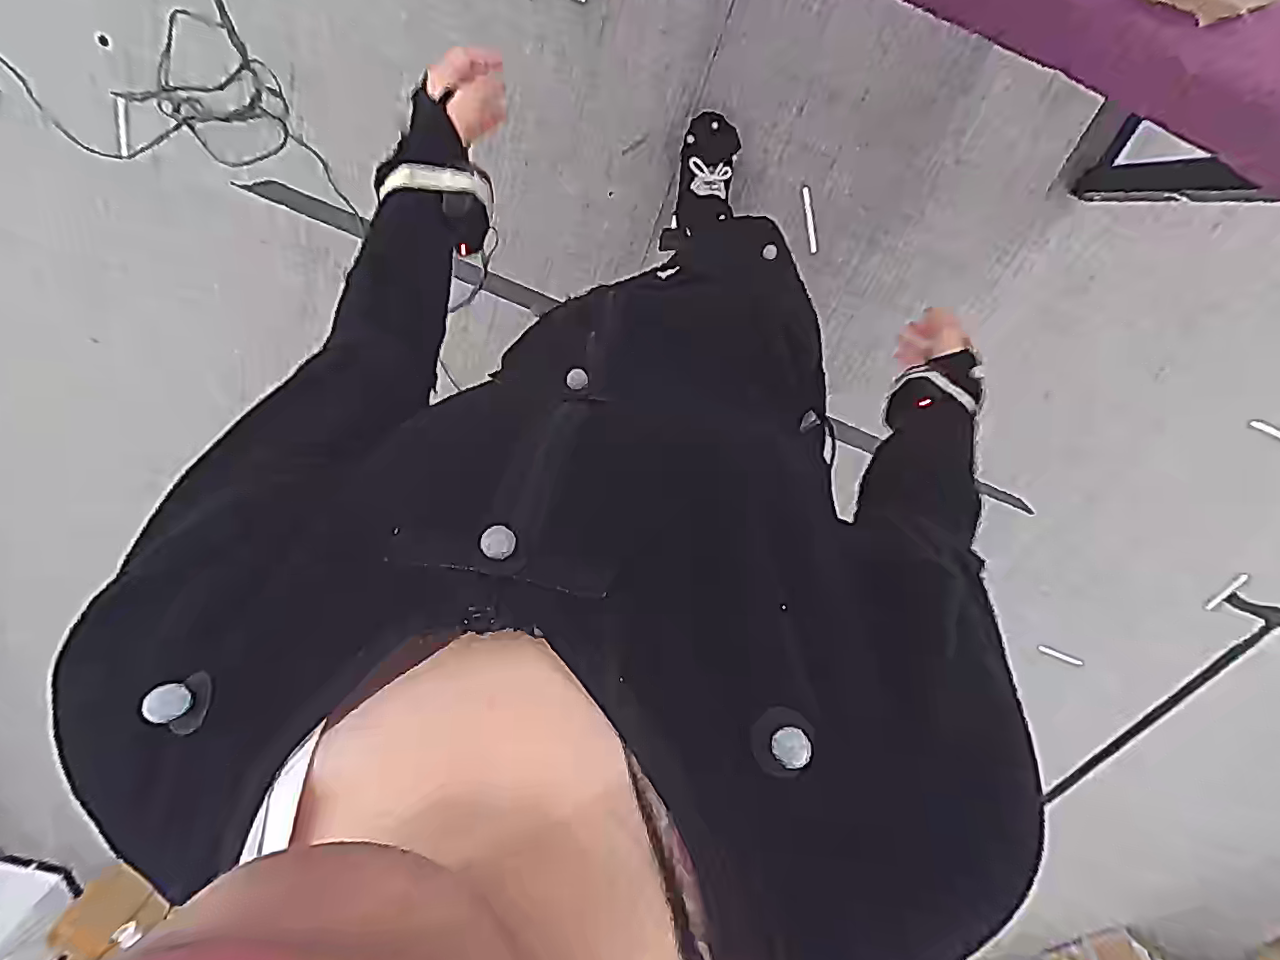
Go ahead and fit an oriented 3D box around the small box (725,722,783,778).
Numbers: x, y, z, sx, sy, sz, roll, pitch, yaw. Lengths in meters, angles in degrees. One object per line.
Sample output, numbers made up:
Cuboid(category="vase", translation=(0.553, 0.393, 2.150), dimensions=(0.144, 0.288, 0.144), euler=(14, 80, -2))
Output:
Cuboid(category="small box", translation=(0.411, 1.007, 1.946), dimensions=(0.168, 0.176, 0.179), euler=(-20, 112, 16))
